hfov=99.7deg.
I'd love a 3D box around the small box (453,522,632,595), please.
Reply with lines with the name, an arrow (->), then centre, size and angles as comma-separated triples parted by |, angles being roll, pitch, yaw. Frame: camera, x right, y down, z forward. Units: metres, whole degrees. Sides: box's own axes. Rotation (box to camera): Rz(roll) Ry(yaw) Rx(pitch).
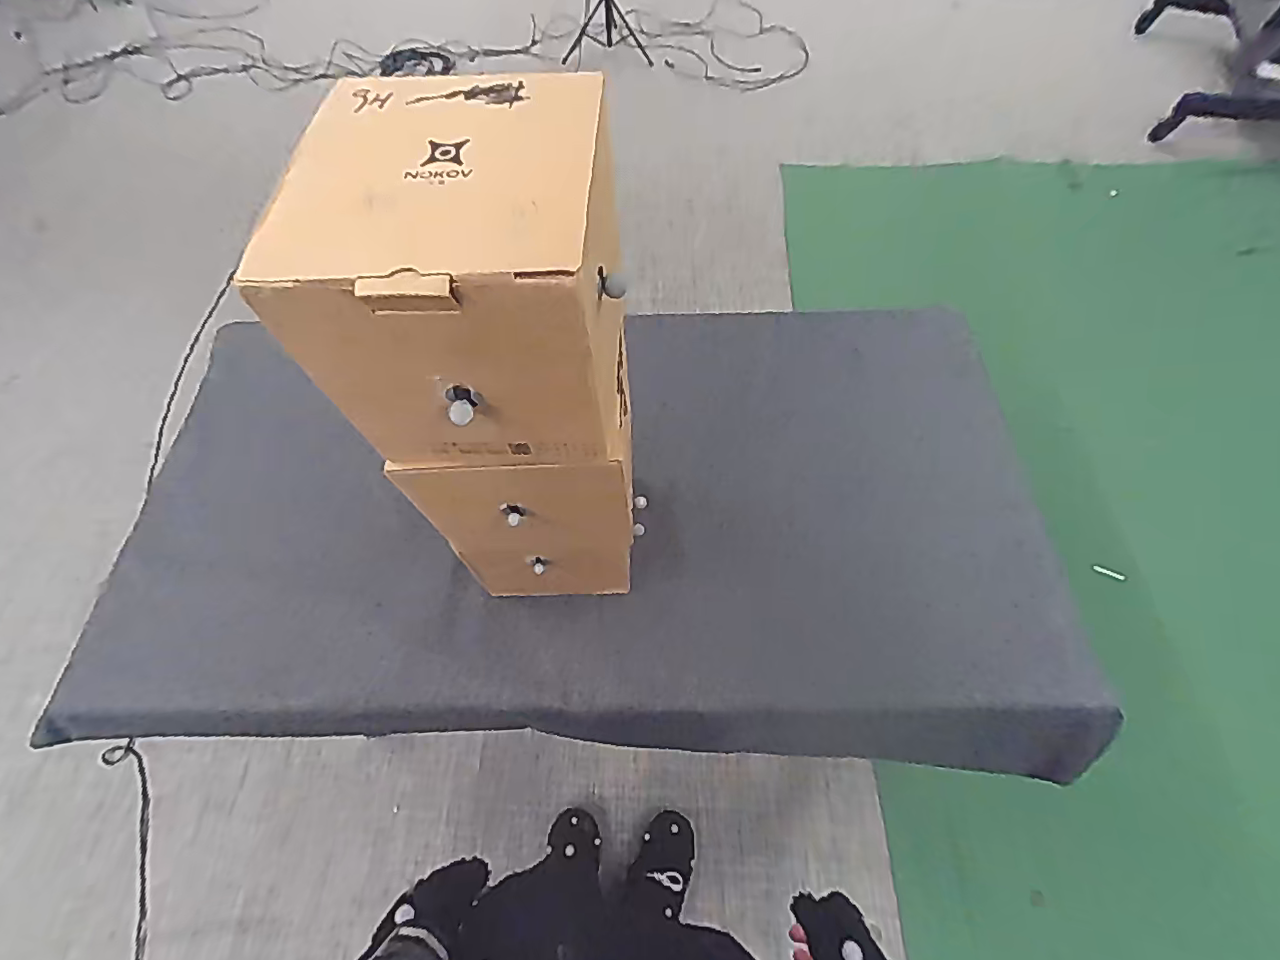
small box -> -0.100, 0.035, 0.646 | 0.179, 0.176, 0.168 | -1, 62, 0

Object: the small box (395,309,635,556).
small box -> -0.097, -0.038, 0.499 | 0.179, 0.176, 0.168 | -4, 62, -1

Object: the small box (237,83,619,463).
small box -> -0.104, -0.122, 0.360 | 0.168, 0.176, 0.179 | 1, 63, 3
